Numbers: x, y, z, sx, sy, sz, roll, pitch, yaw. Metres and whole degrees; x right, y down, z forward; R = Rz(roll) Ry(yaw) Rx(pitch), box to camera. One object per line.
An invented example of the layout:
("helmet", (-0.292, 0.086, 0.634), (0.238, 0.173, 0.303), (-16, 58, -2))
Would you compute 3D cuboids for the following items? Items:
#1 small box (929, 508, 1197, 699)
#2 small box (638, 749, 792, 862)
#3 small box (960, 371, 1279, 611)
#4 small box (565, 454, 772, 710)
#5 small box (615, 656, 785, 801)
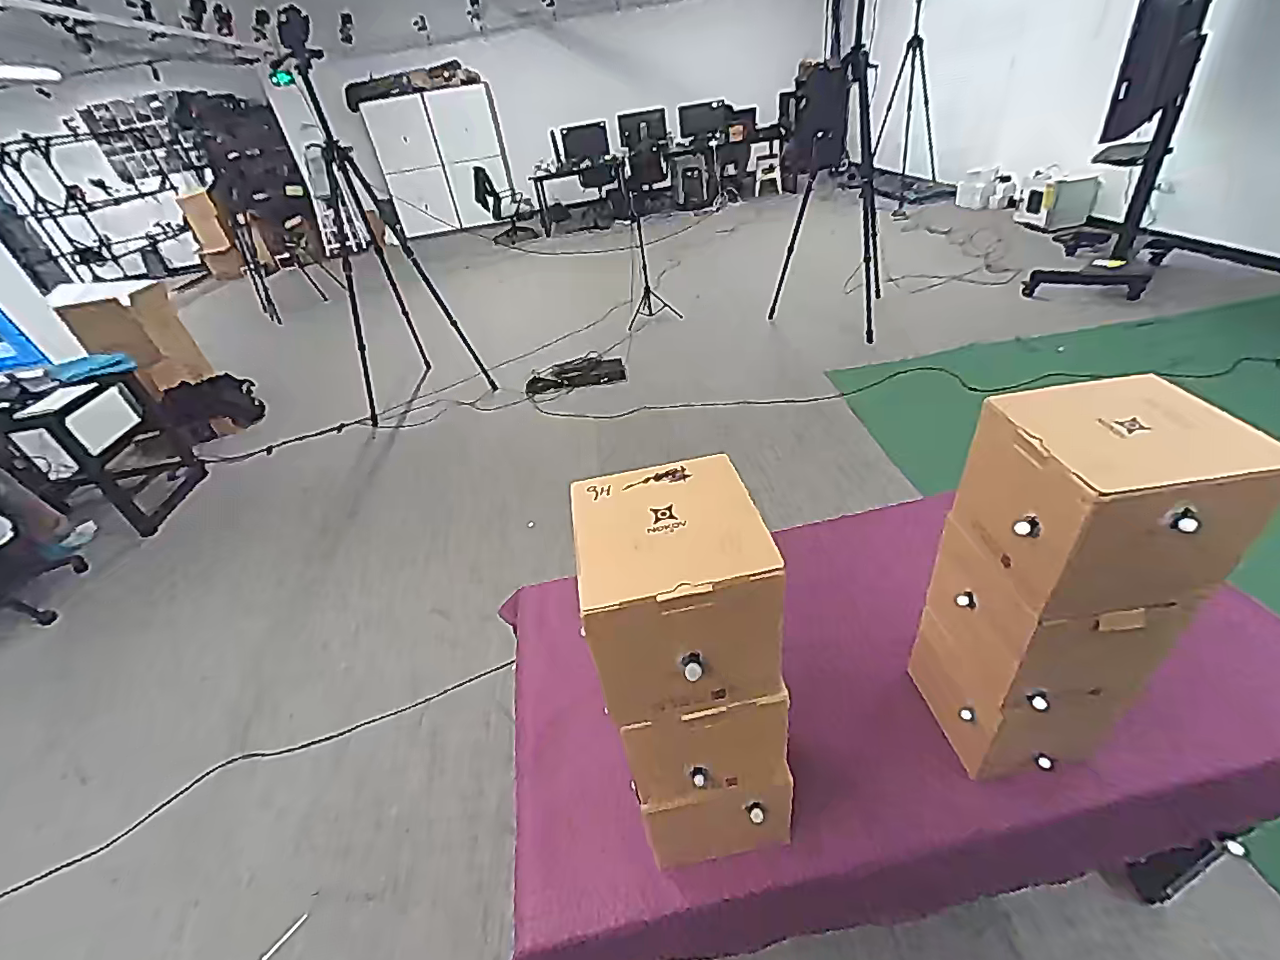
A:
("small box", (0.474, 0.139, 0.644), (0.168, 0.176, 0.179), (-10, 35, 2))
("small box", (0.088, 0.369, 0.714), (0.179, 0.176, 0.168), (-11, 35, 0))
("small box", (0.451, 0.013, 0.543), (0.179, 0.176, 0.168), (-8, 37, 3))
("small box", (0.026, 0.103, 0.533), (0.168, 0.176, 0.179), (-11, 37, -2))
("small box", (0.060, 0.234, 0.627), (0.168, 0.176, 0.179), (-11, 36, 0))
